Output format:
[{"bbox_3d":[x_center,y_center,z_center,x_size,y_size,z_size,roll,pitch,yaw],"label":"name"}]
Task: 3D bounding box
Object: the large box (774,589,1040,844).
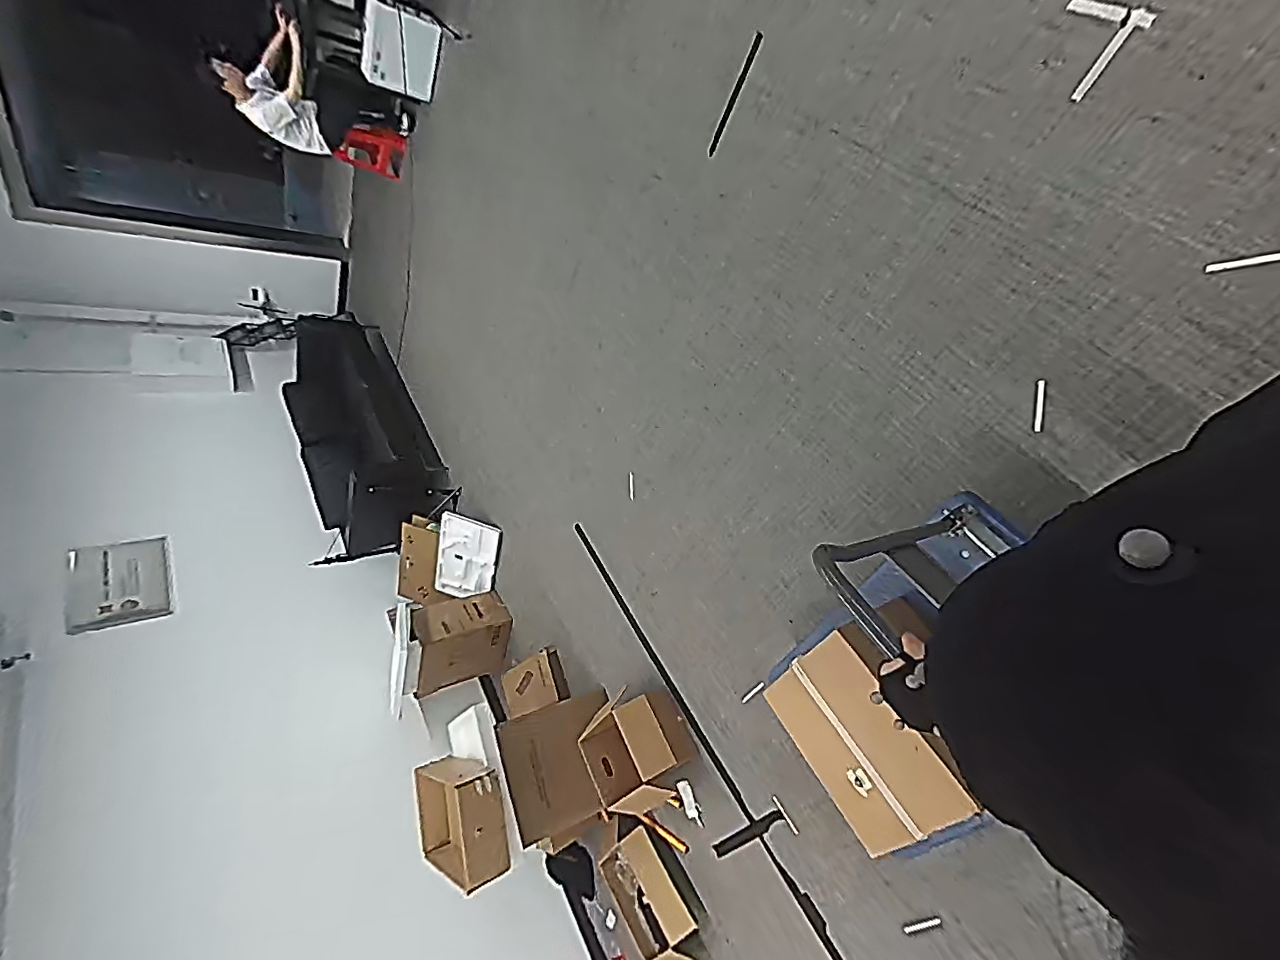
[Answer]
[{"bbox_3d":[0.608,0.531,1.273,0.408,0.320,0.320,55,134,29],"label":"large box"}]
